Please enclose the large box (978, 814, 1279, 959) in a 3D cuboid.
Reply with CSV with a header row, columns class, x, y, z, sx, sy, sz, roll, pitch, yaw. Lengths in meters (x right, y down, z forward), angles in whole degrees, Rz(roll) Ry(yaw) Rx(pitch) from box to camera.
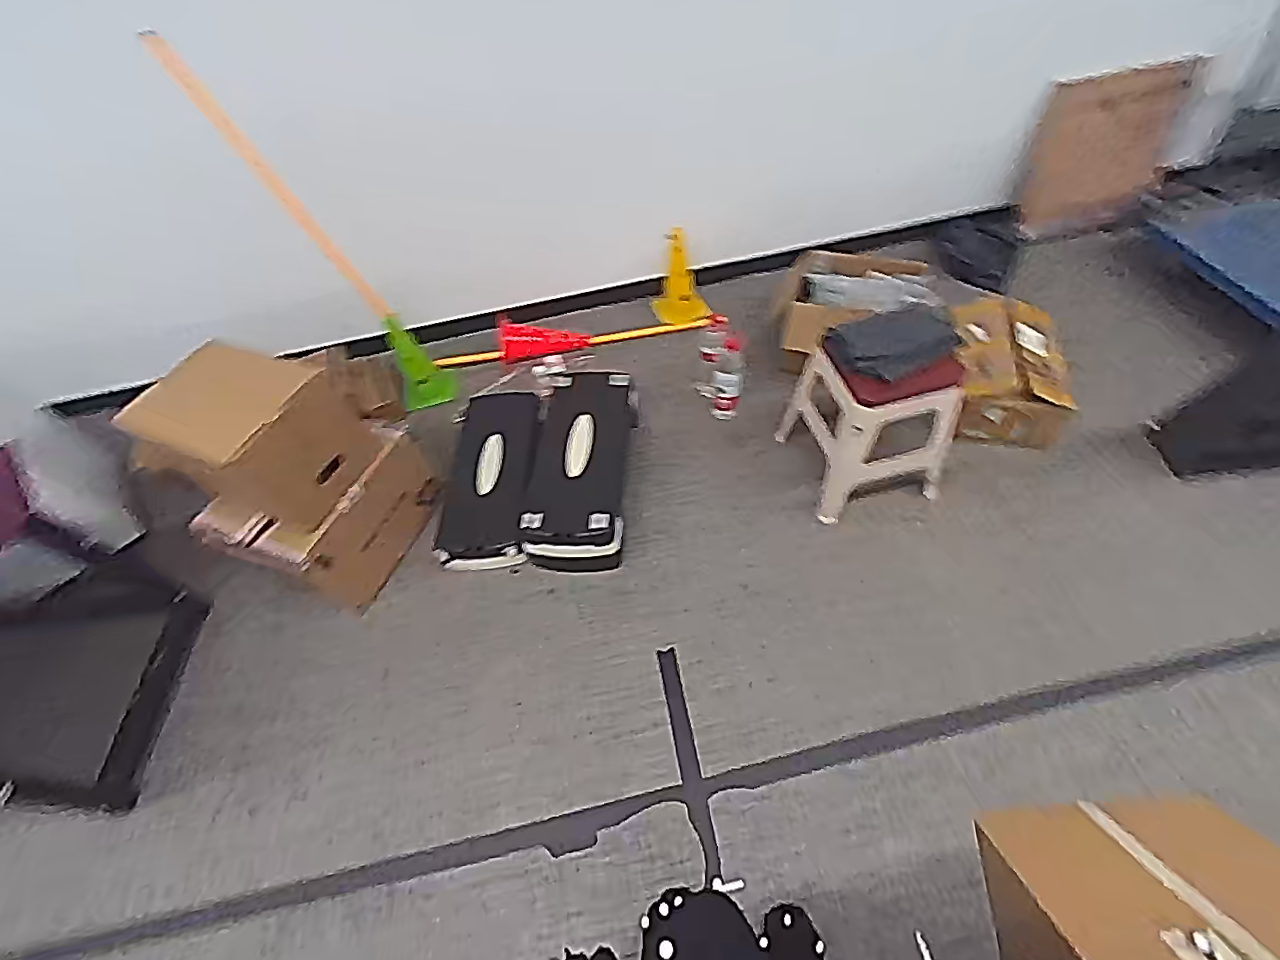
class,x,y,z,sx,sy,sz,roll,pitch,yaw
large box,0.650,0.646,0.595,0.320,0.408,0.320,-10,88,8
